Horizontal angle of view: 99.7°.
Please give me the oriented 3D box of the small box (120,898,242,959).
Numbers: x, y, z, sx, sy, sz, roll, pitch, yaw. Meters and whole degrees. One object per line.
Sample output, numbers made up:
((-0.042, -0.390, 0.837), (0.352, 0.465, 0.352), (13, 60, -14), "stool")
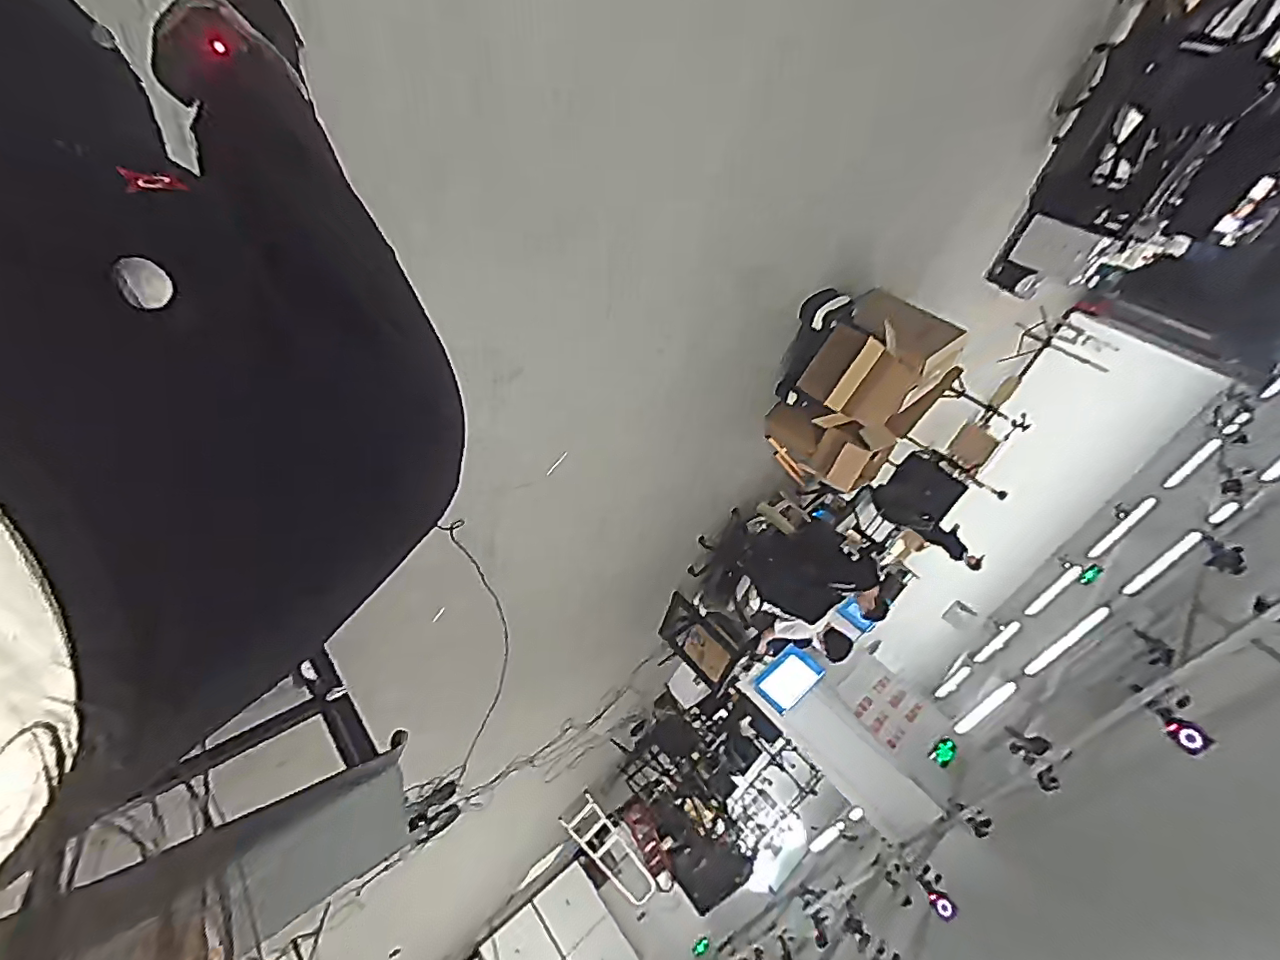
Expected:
((-1.036, 1.109, 1.231), (0.179, 0.176, 0.168), (-19, 140, -38), "small box")
